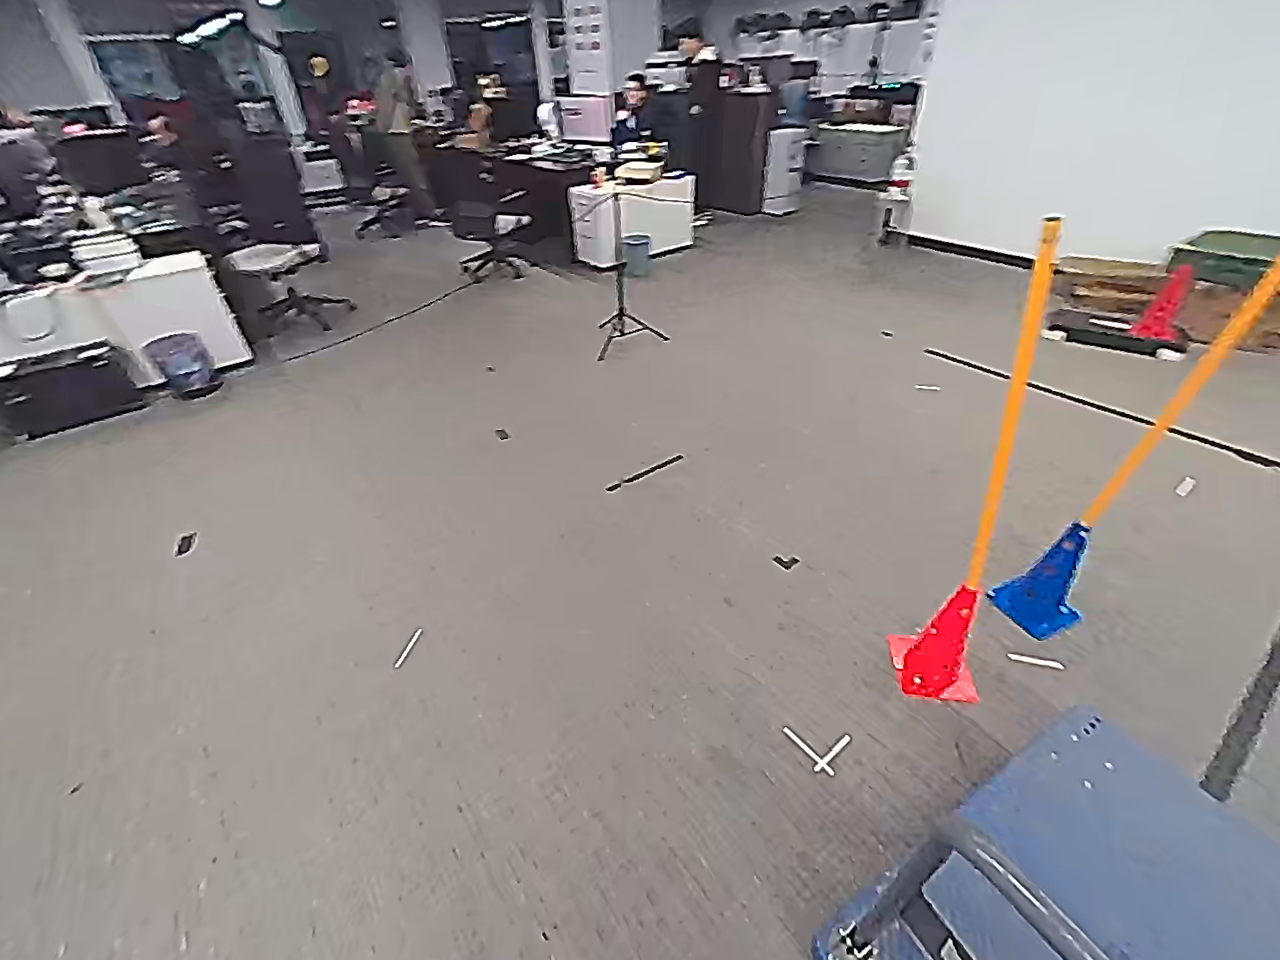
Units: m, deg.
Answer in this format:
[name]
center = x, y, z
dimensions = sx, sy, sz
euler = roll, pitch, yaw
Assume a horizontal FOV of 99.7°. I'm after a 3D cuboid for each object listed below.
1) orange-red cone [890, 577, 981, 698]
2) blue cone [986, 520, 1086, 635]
[orange-red cone]
center = 0.824, 0.388, 1.436
dimensions = 0.199, 0.360, 0.198
euler = 4, 39, 7
[blue cone]
center = 1.219, 0.263, 1.596
dimensions = 0.192, 0.380, 0.193
euler = -17, 40, -16
